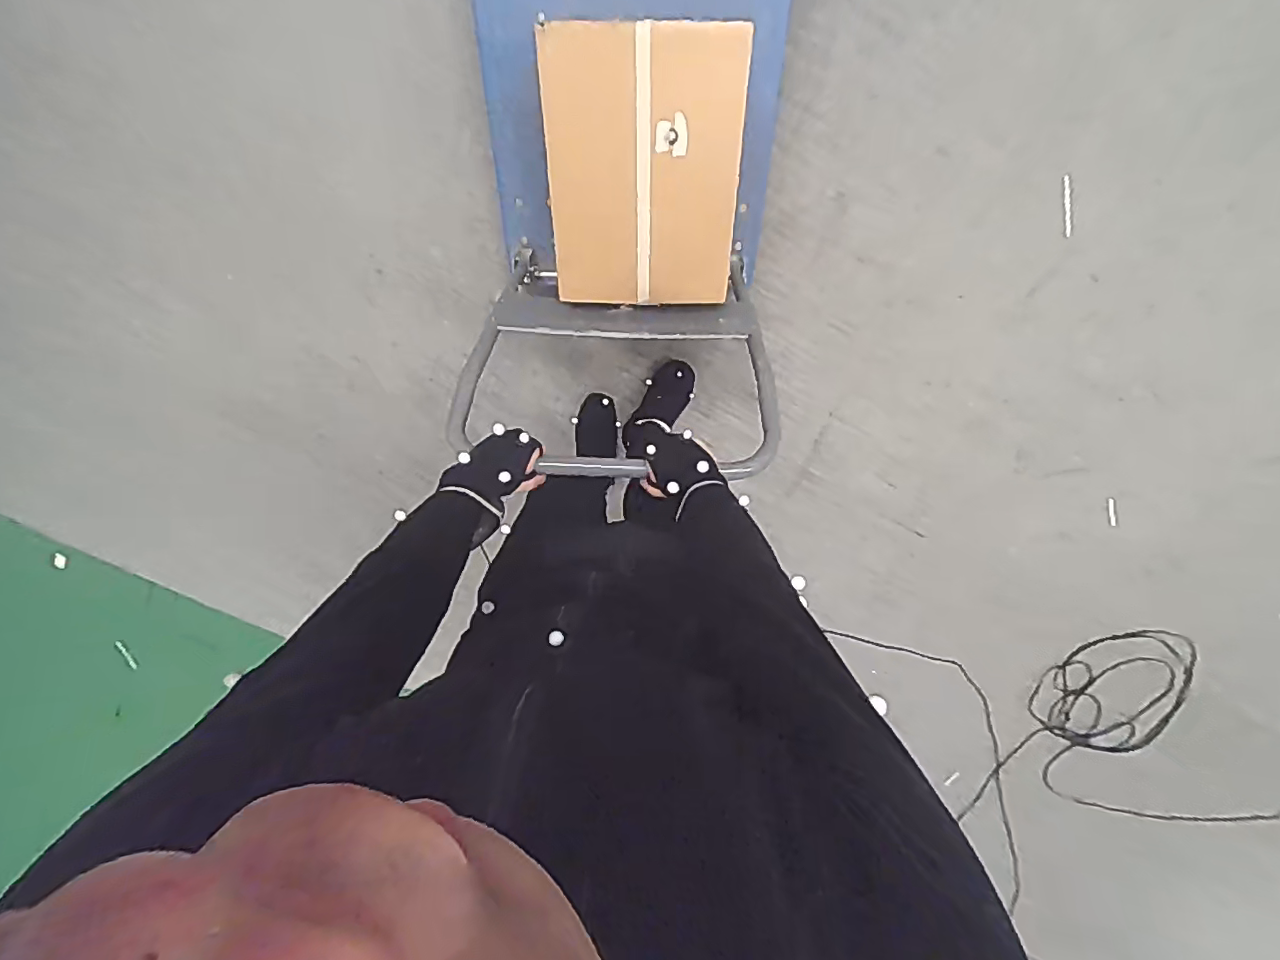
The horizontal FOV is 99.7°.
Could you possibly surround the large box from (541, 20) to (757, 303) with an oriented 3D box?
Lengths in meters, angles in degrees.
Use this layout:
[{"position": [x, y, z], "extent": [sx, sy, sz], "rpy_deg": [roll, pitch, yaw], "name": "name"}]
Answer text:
[{"position": [0.021, -0.575, 0.997], "extent": [0.320, 0.320, 0.408], "rpy_deg": [1, 128, 1], "name": "large box"}]
